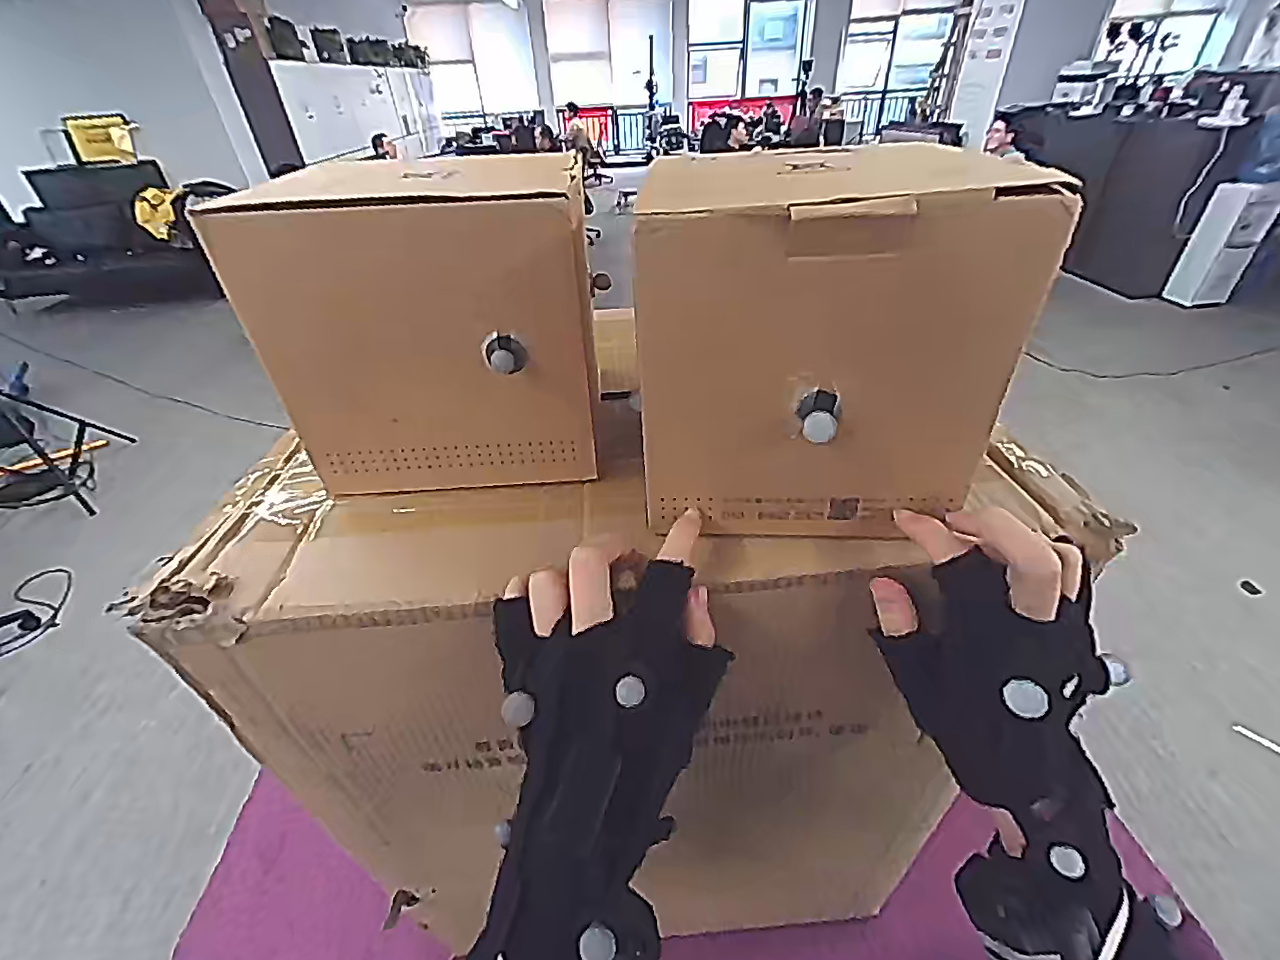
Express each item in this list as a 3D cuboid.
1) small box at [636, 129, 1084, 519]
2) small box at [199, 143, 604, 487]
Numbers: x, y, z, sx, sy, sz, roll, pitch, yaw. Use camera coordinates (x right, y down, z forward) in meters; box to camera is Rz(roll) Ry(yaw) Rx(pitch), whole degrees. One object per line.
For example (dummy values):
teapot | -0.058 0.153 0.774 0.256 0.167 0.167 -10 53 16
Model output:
small box | 0.091 -0.091 0.313 0.168 0.176 0.179 0 37 5
small box | -0.114 -0.111 0.356 0.179 0.176 0.168 -5 36 -2
